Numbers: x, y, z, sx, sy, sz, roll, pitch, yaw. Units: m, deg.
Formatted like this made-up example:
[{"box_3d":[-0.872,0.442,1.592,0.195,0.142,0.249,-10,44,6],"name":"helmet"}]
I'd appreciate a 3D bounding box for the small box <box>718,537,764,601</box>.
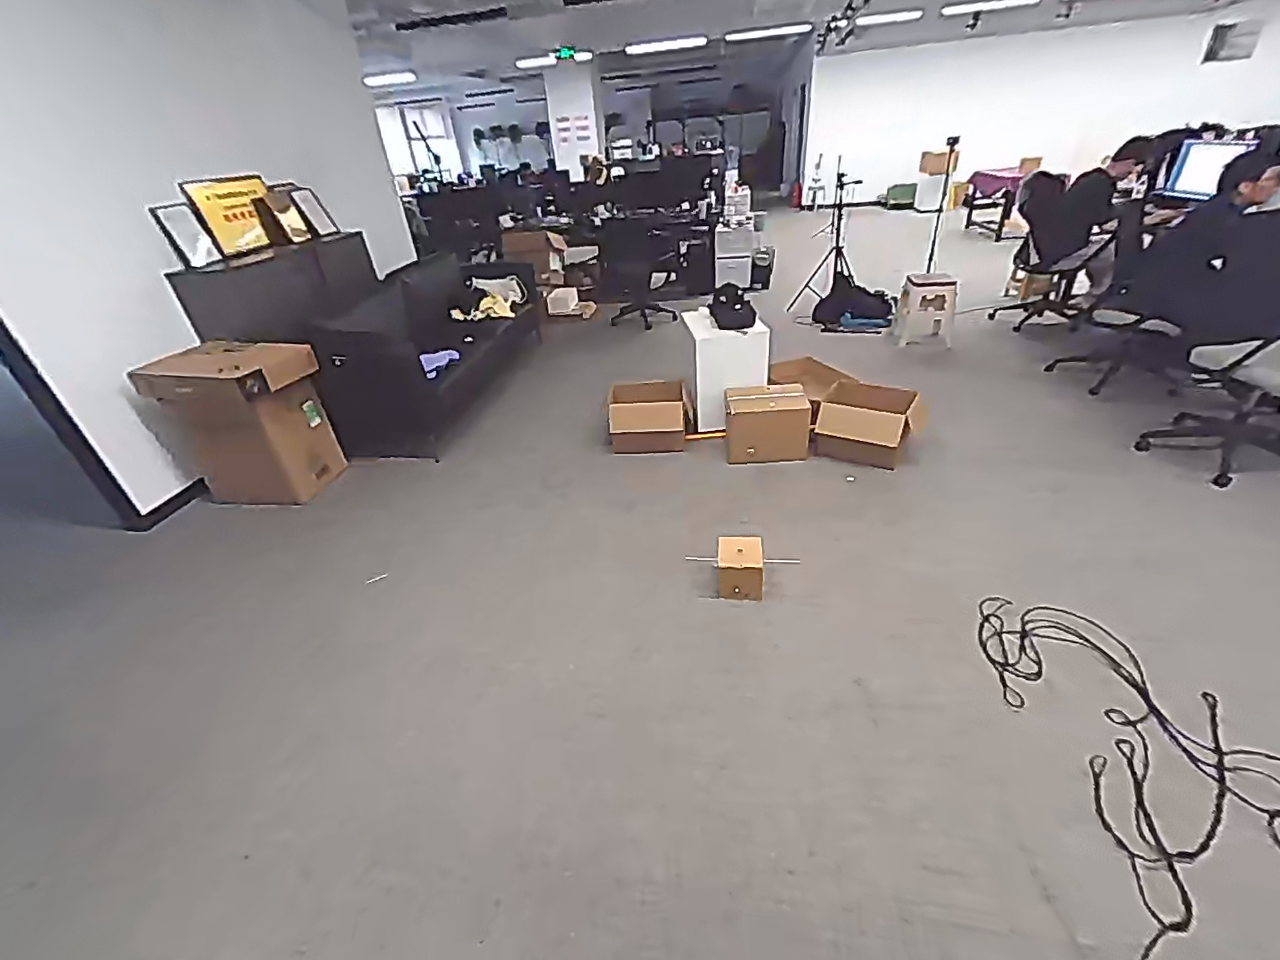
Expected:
[{"box_3d":[0.386,0.341,2.081,0.168,0.176,0.179,0,34,9],"name":"small box"}]
